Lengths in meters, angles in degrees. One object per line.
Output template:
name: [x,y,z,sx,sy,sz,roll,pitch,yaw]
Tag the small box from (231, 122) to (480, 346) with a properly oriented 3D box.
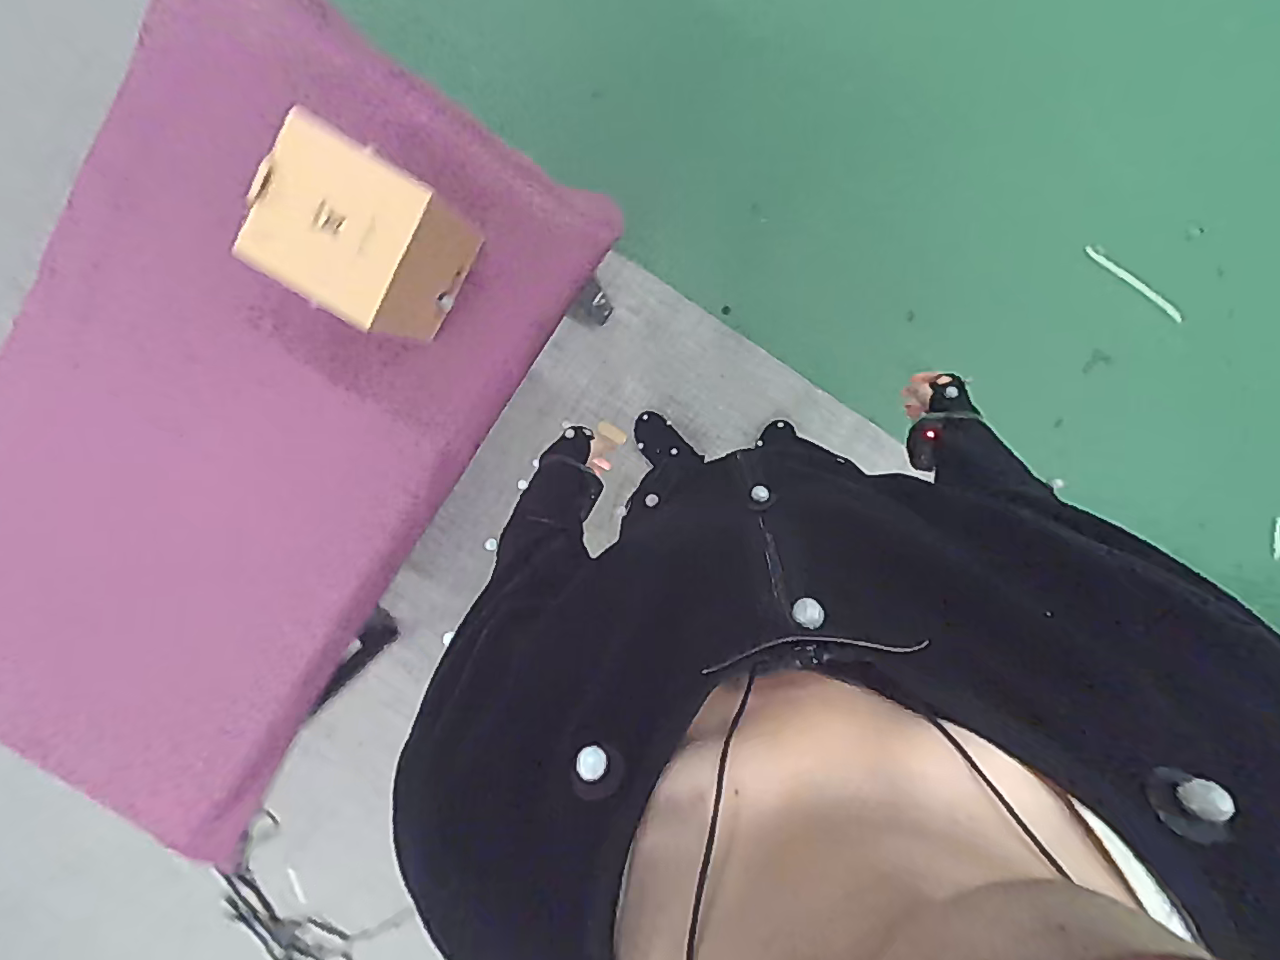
small box: [-0.330,-0.278,0.661,0.179,0.176,0.168,31,99,-1]
